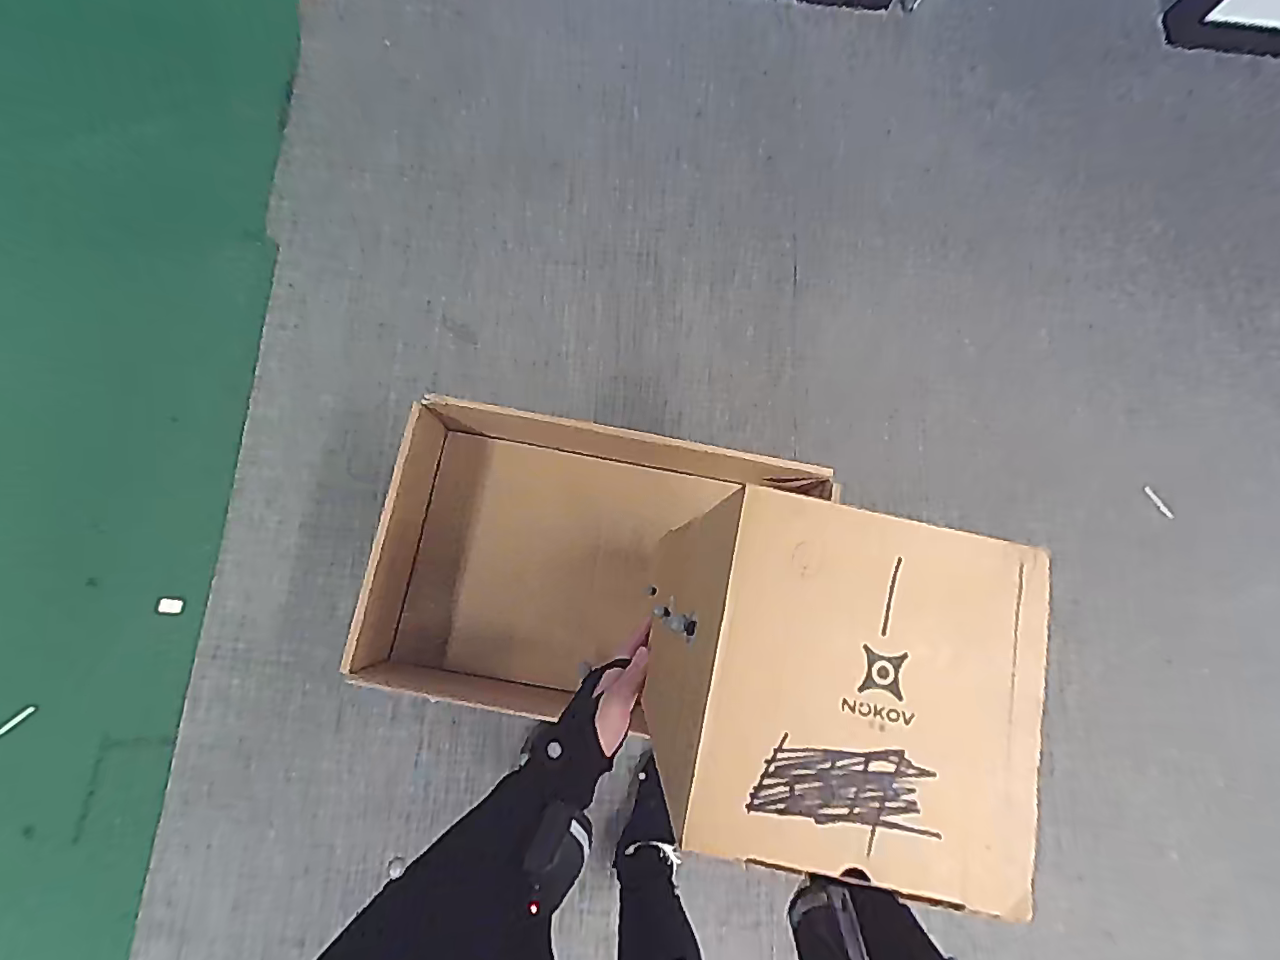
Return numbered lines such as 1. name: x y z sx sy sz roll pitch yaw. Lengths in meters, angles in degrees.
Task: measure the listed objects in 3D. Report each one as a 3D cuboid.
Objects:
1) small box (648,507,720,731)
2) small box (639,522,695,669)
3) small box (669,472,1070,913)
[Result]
1. small box: 0.107 0.137 0.500 0.168 0.176 0.179 13 79 -1
2. small box: 0.097 0.162 0.662 0.168 0.176 0.179 13 78 -2
3. small box: 0.118 0.112 0.339 0.168 0.176 0.179 13 78 -1
